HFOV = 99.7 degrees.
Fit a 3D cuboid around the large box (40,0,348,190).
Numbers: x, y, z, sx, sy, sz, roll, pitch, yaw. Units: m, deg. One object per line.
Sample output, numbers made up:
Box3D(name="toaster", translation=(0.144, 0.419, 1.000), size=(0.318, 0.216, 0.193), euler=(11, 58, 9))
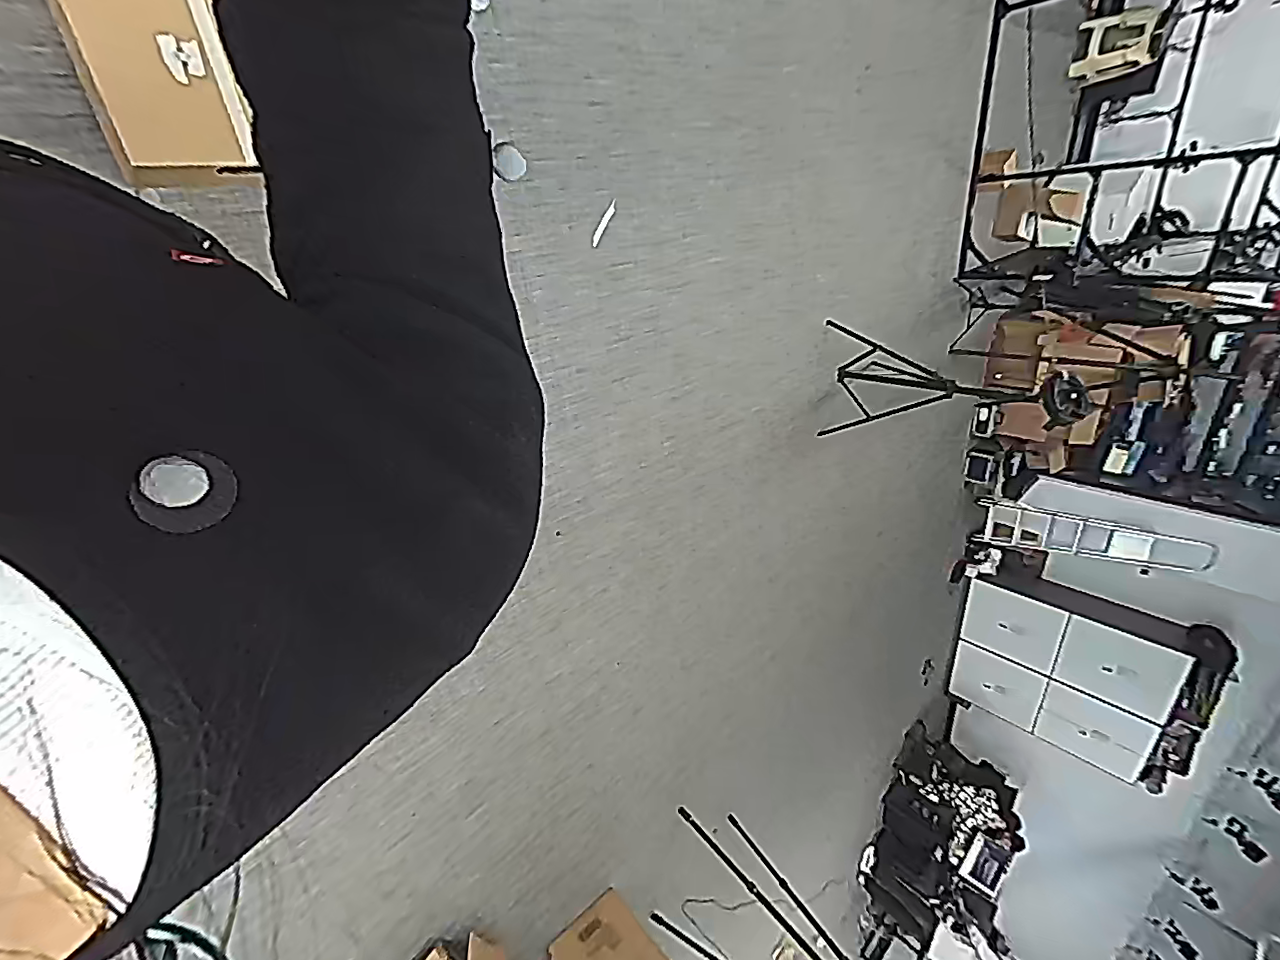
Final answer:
Box3D(name="large box", translation=(-0.759, -0.732, 0.903), size=(0.320, 0.320, 0.408), euler=(-26, 123, -34))
